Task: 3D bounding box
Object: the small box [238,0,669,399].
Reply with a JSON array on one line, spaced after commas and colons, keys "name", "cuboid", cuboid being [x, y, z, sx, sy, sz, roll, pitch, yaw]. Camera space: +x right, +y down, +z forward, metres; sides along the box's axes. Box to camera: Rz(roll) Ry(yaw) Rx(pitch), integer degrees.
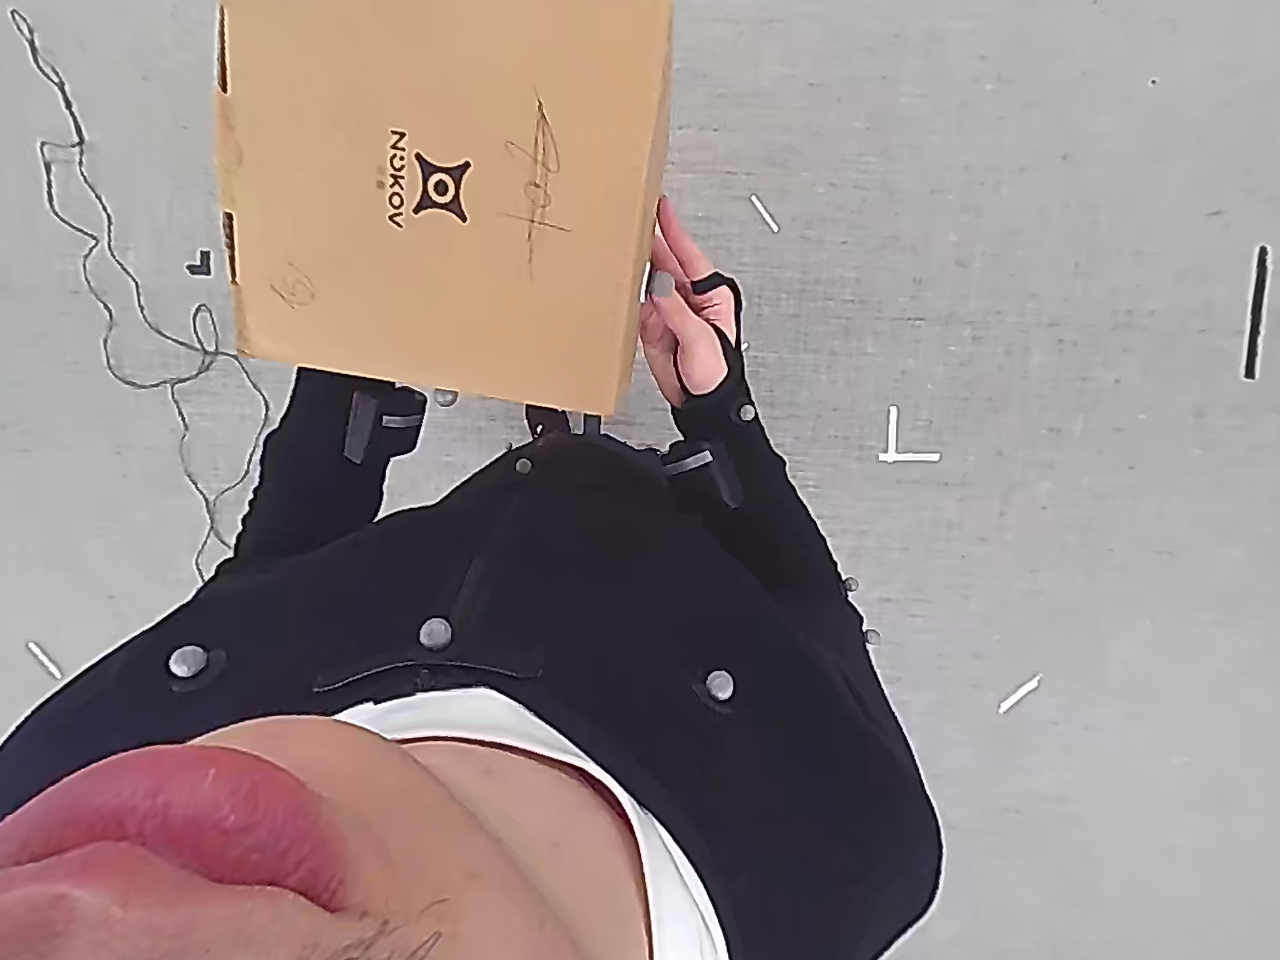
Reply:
[{"name": "small box", "cuboid": [-0.083, -0.149, 0.311, 0.179, 0.176, 0.168, 9, 106, -1]}]
